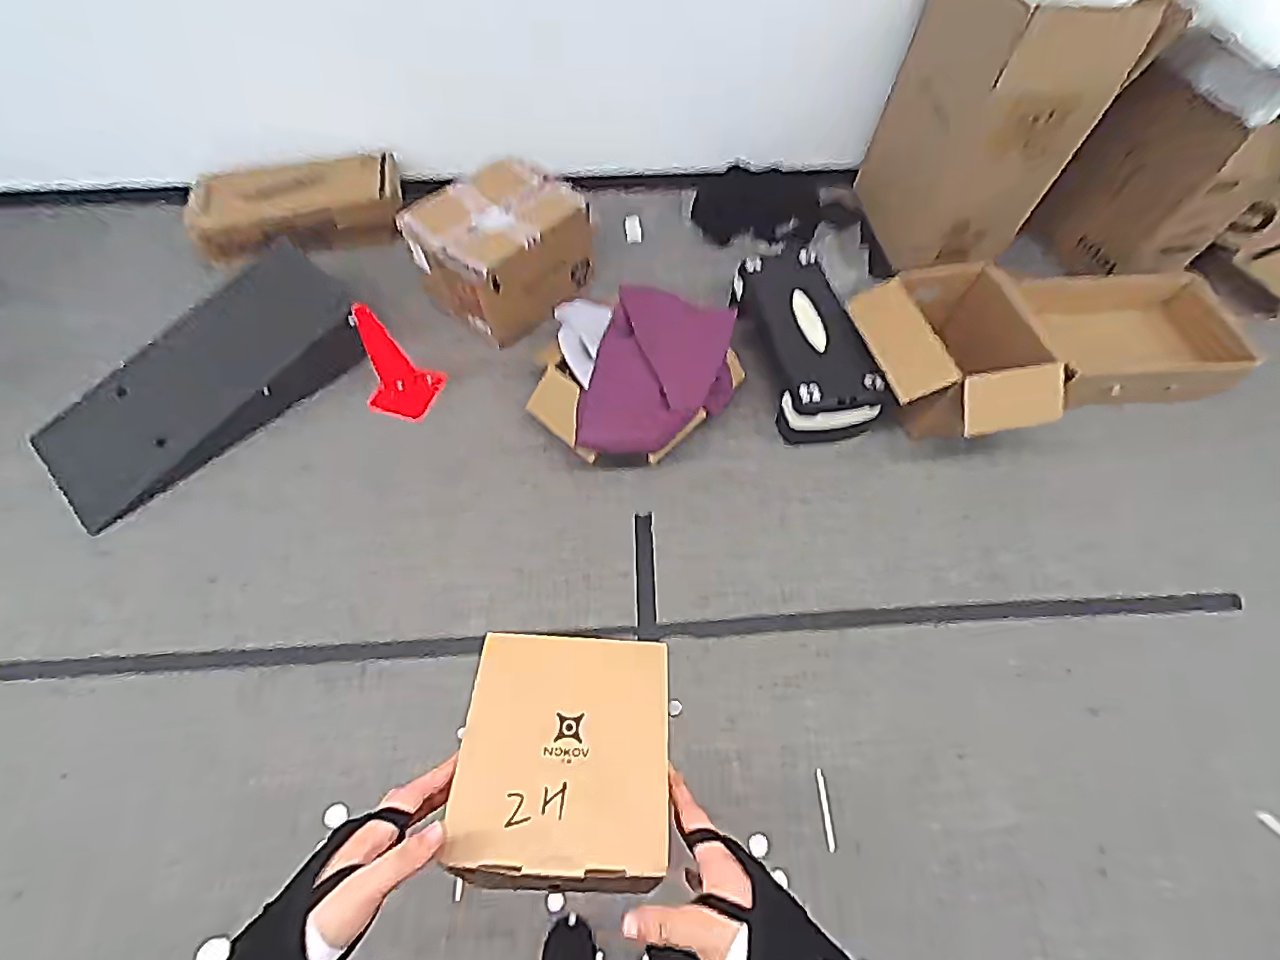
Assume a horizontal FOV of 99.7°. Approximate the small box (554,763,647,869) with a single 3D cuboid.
[{"bbox_3d":[-0.079,0.695,1.126,0.179,0.176,0.168,-5,60,-4],"label":"small box"}]
